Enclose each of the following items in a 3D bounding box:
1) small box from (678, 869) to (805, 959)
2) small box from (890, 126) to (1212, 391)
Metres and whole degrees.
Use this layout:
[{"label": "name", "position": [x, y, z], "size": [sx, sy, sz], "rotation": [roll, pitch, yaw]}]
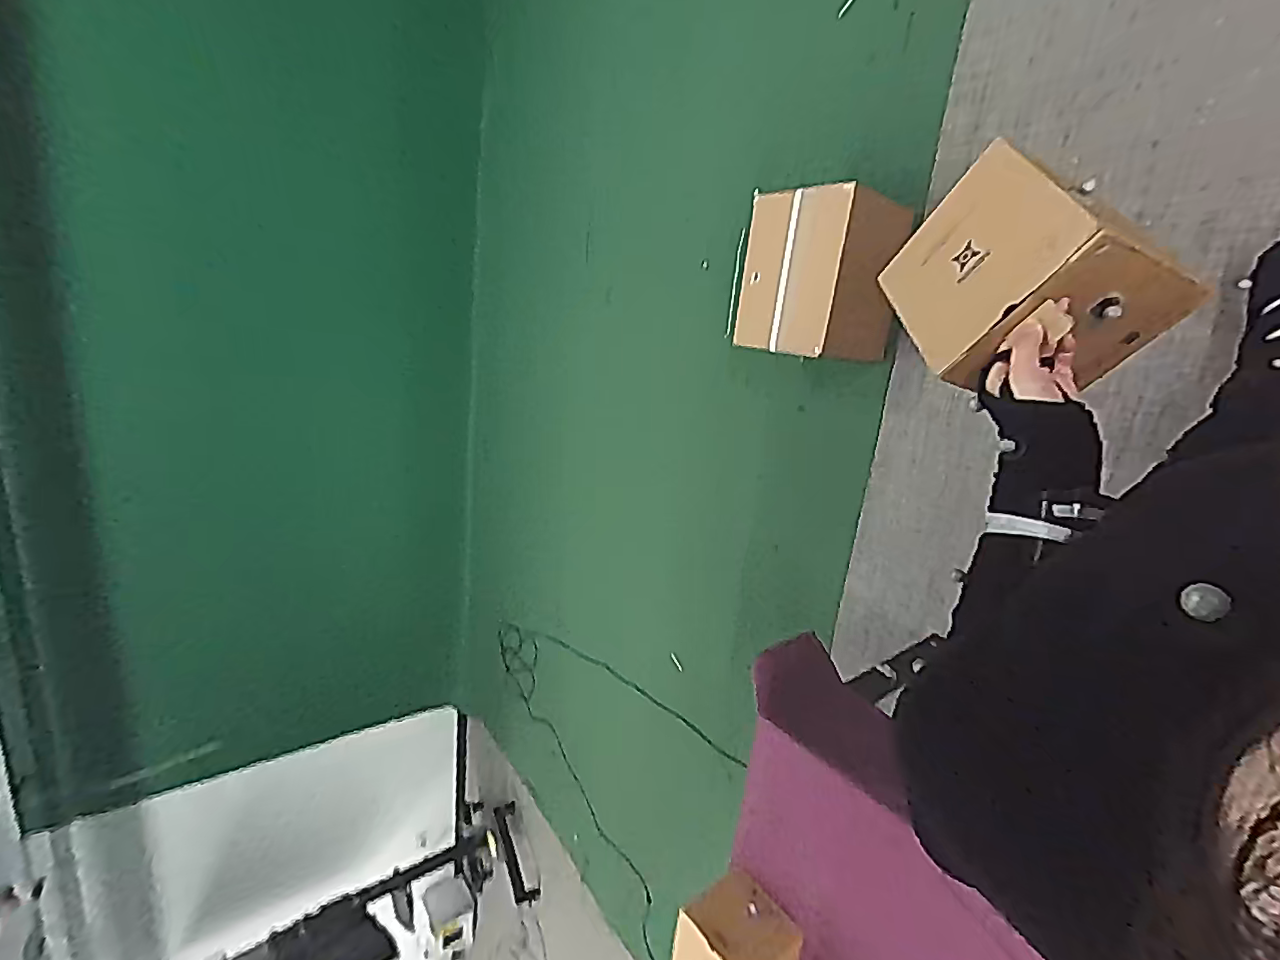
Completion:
[{"label": "small box", "position": [0.194, 0.912, 1.037], "size": [0.168, 0.176, 0.179], "rotation": [23, 111, 48]}, {"label": "small box", "position": [0.402, -0.210, 0.551], "size": [0.168, 0.176, 0.179], "rotation": [126, 149, -47]}]
